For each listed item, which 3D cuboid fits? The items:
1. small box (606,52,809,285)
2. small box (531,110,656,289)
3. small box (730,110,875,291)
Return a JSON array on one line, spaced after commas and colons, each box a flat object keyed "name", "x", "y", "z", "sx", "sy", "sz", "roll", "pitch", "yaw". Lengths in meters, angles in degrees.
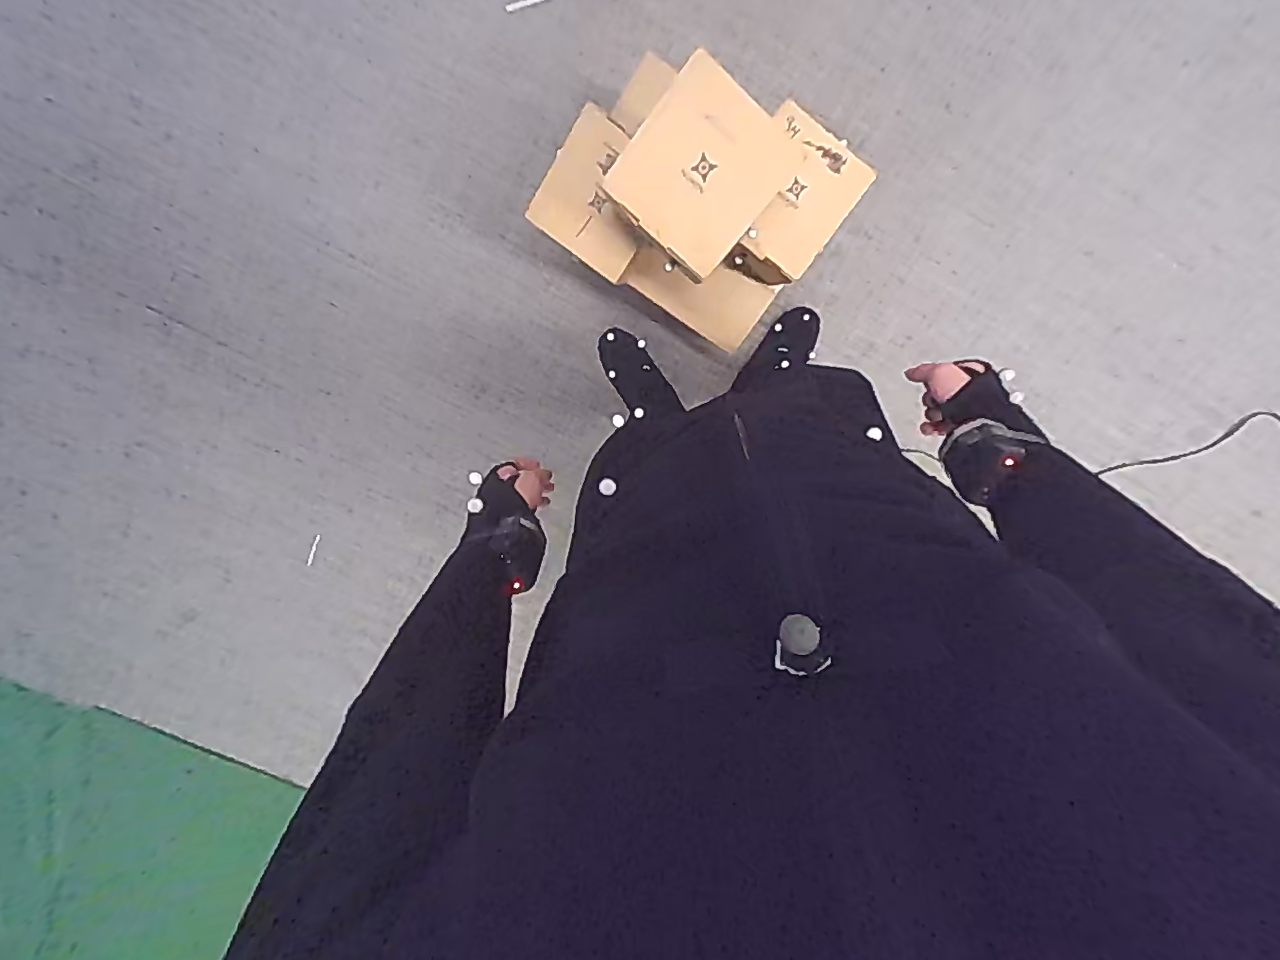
[{"name": "small box", "x": 0.079, "y": -0.371, "z": 0.689, "sx": 0.168, "sy": 0.176, "sz": 0.179, "roll": 39, "pitch": 103, "yaw": -10}, {"name": "small box", "x": -0.043, "y": -0.423, "z": 0.850, "sx": 0.168, "sy": 0.176, "sz": 0.179, "roll": 36, "pitch": 108, "yaw": -8}, {"name": "small box", "x": 0.220, "y": -0.414, "z": 0.842, "sx": 0.168, "sy": 0.176, "sz": 0.179, "roll": 35, "pitch": 105, "yaw": -7}]
